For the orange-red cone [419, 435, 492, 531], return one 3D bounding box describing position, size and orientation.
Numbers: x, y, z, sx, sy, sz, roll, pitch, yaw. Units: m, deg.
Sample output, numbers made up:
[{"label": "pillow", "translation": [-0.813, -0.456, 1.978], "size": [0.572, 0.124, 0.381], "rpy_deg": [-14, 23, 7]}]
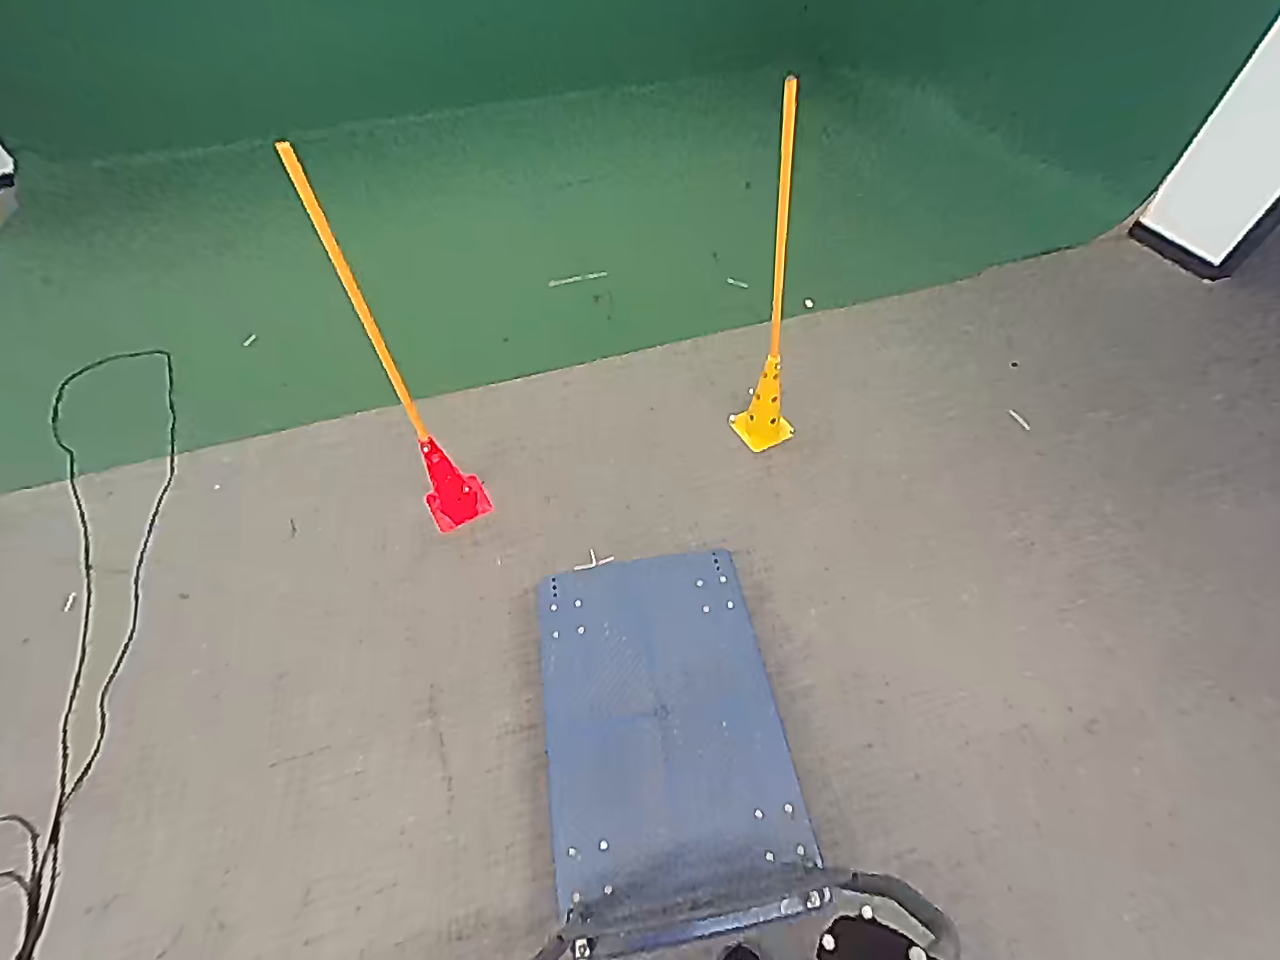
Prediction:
[{"label": "orange-red cone", "translation": [-0.667, -0.020, 1.834], "size": [0.199, 0.360, 0.198], "rpy_deg": [-27, 56, -15]}]
